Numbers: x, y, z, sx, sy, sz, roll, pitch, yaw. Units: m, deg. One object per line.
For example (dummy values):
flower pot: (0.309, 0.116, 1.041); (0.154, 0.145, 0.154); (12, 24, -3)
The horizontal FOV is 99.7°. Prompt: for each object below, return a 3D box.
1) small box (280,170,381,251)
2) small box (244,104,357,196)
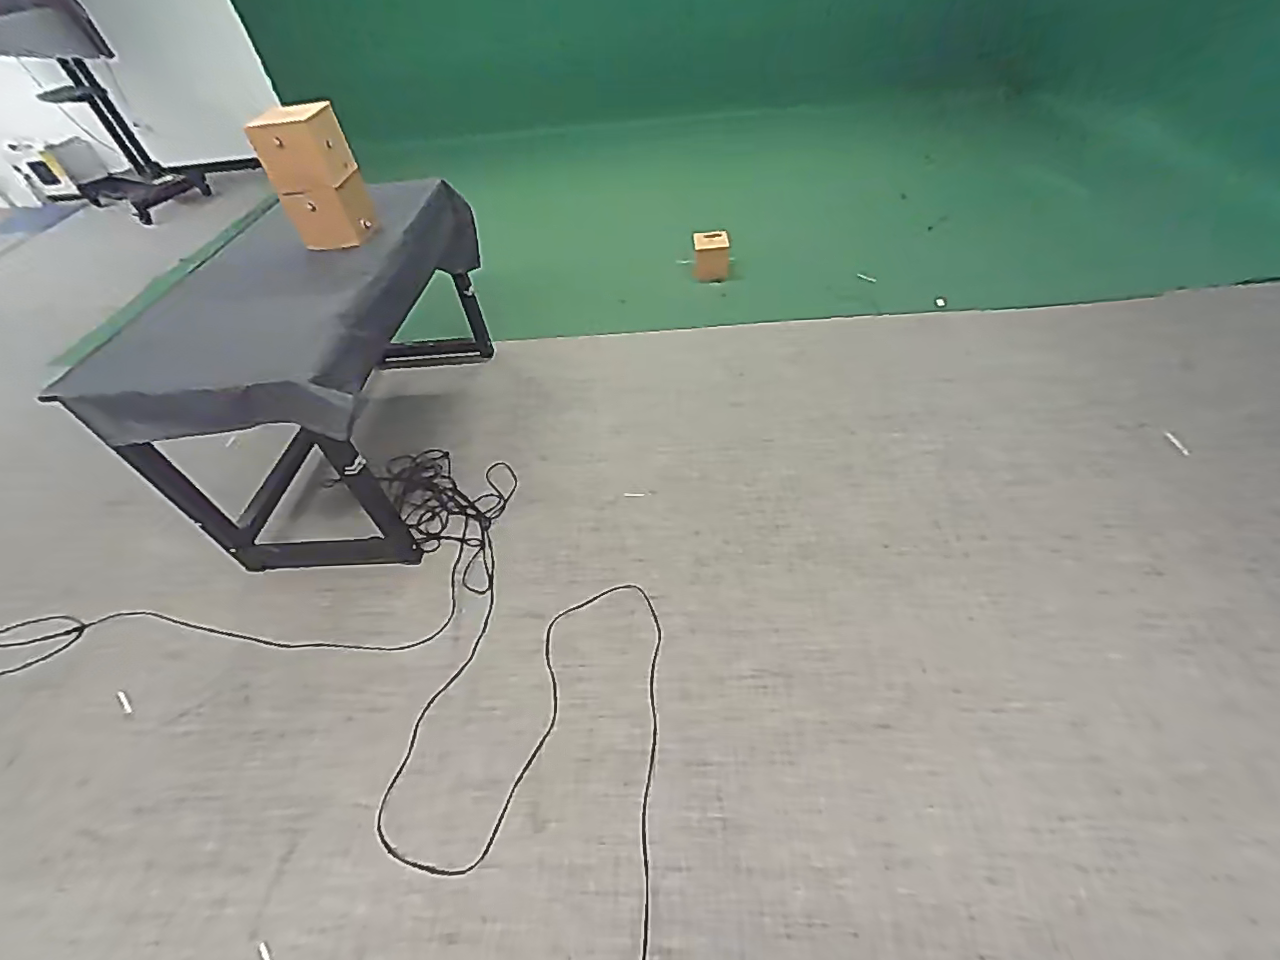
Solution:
small box: (-0.915, -0.802, 1.617); (0.179, 0.176, 0.168); (-2, 49, 5)
small box: (-0.924, -0.908, 1.494); (0.179, 0.176, 0.168); (-4, 48, 6)
